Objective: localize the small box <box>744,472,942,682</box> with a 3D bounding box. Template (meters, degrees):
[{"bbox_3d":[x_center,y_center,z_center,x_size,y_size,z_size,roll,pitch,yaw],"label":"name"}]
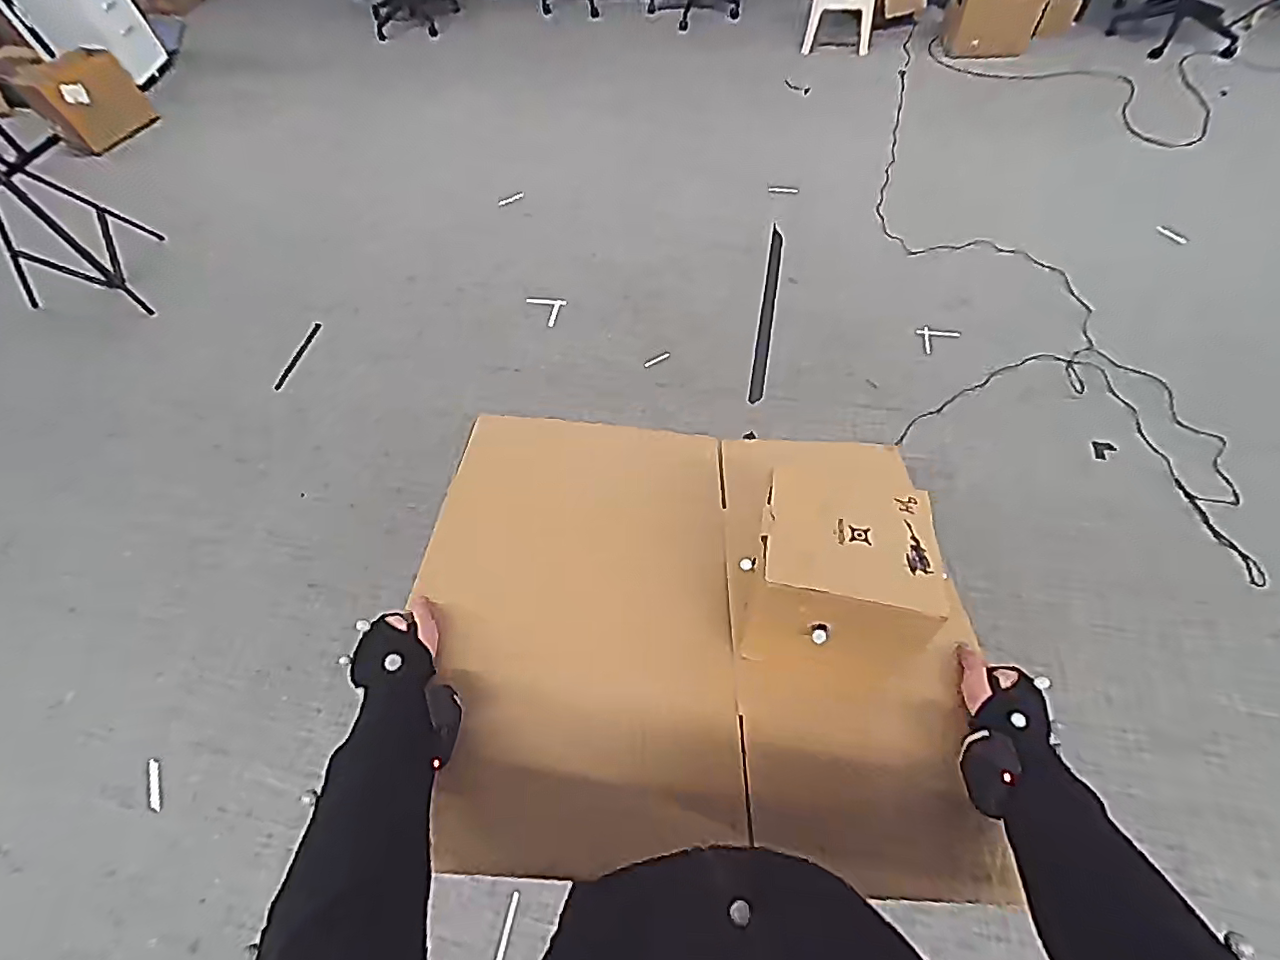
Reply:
[{"bbox_3d":[0.223,0.116,0.636,0.179,0.176,0.168,9,48,9],"label":"small box"}]
